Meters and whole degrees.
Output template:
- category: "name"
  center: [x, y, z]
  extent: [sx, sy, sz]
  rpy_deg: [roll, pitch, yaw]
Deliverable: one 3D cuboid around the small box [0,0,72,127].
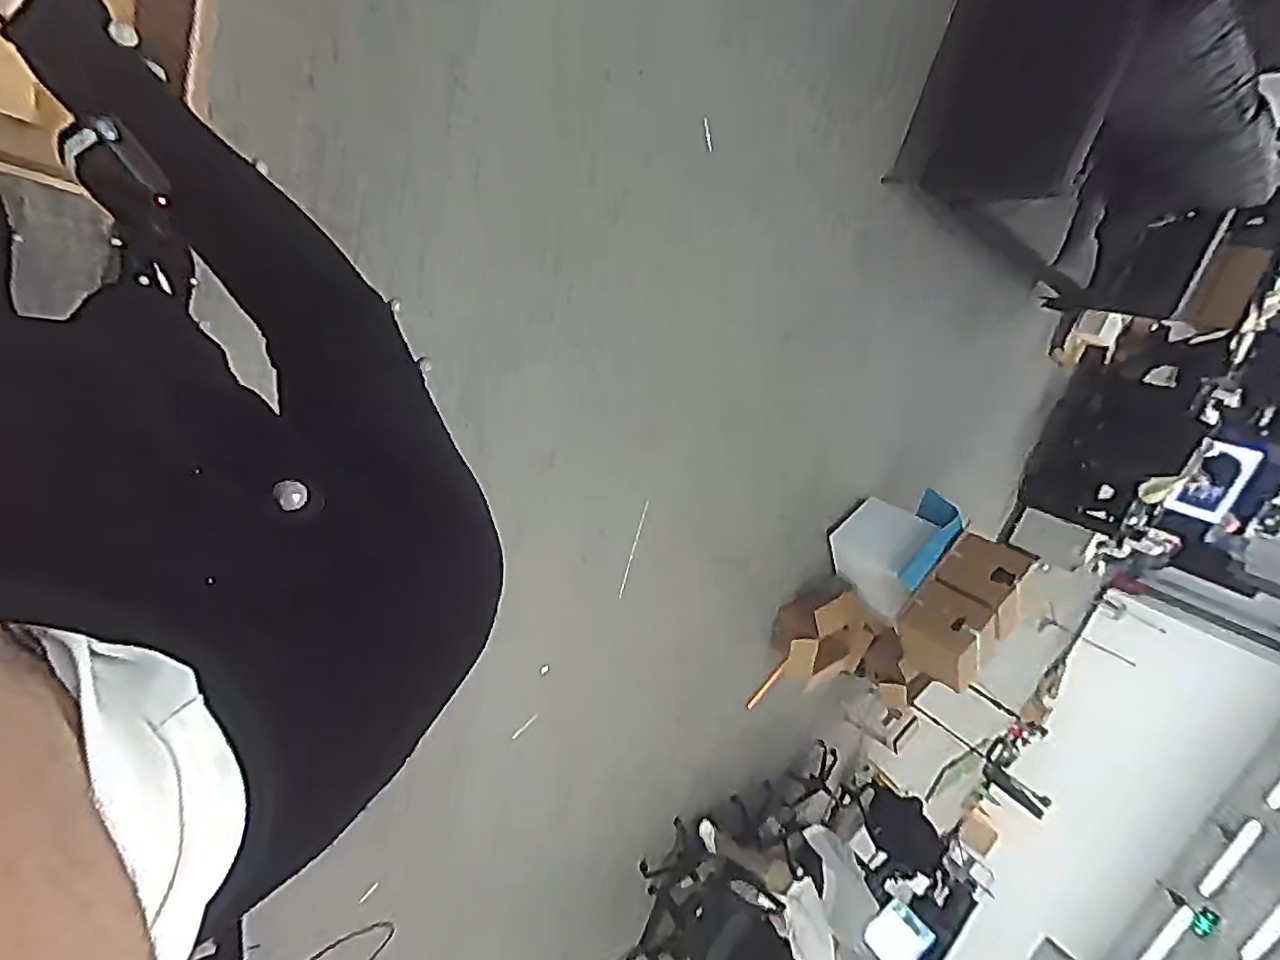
- category: "small box"
  center: [-0.783, -0.539, 0.615]
  extent: [0.168, 0.176, 0.179]
  rpy_deg: [8, 108, -39]
